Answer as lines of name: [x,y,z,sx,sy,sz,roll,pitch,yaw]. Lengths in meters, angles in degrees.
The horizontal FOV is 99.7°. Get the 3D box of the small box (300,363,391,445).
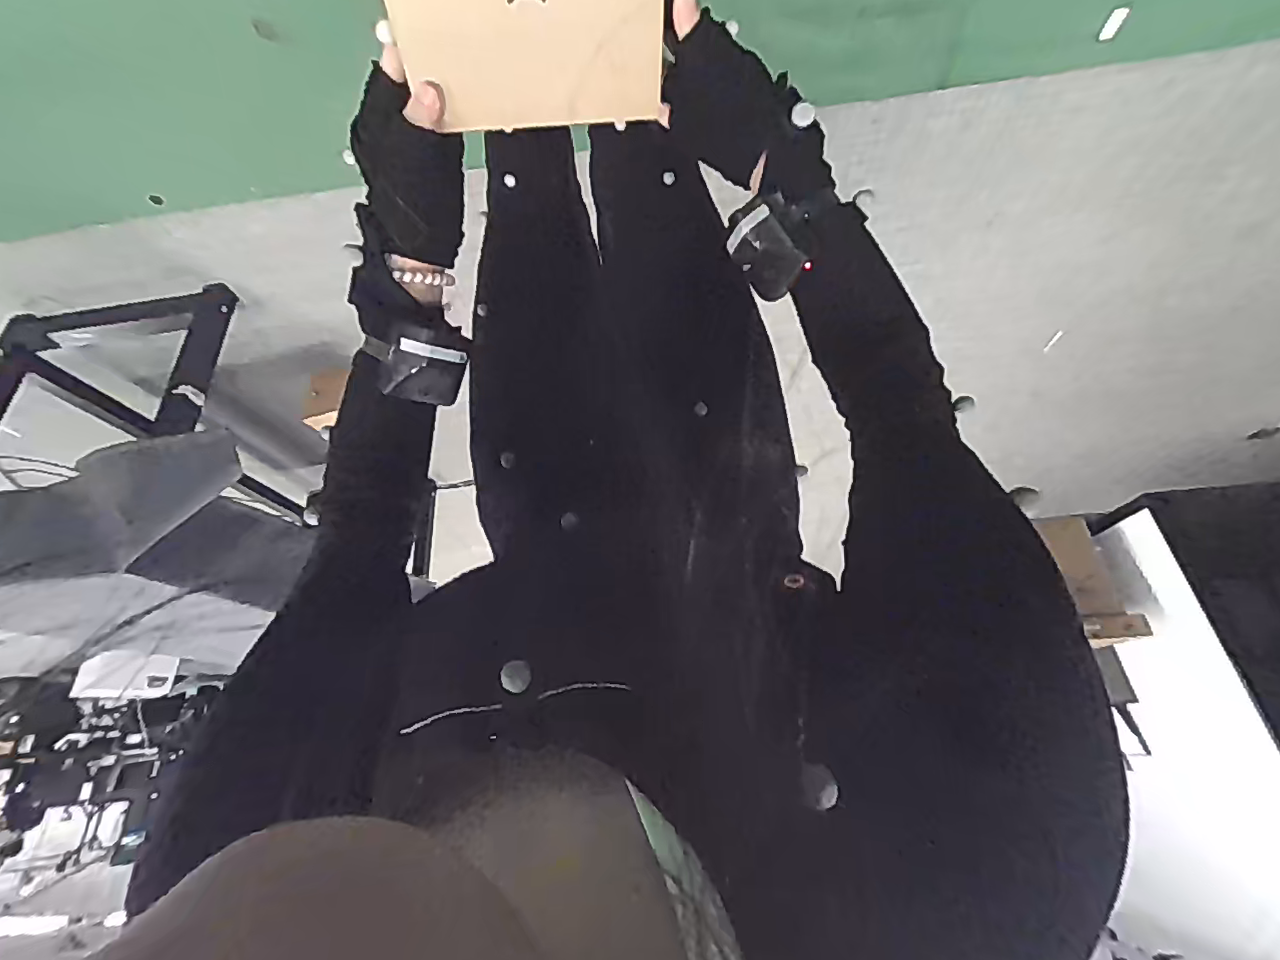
small box: [-0.892,-0.231,1.656,0.179,0.176,0.168,-11,155,15]
